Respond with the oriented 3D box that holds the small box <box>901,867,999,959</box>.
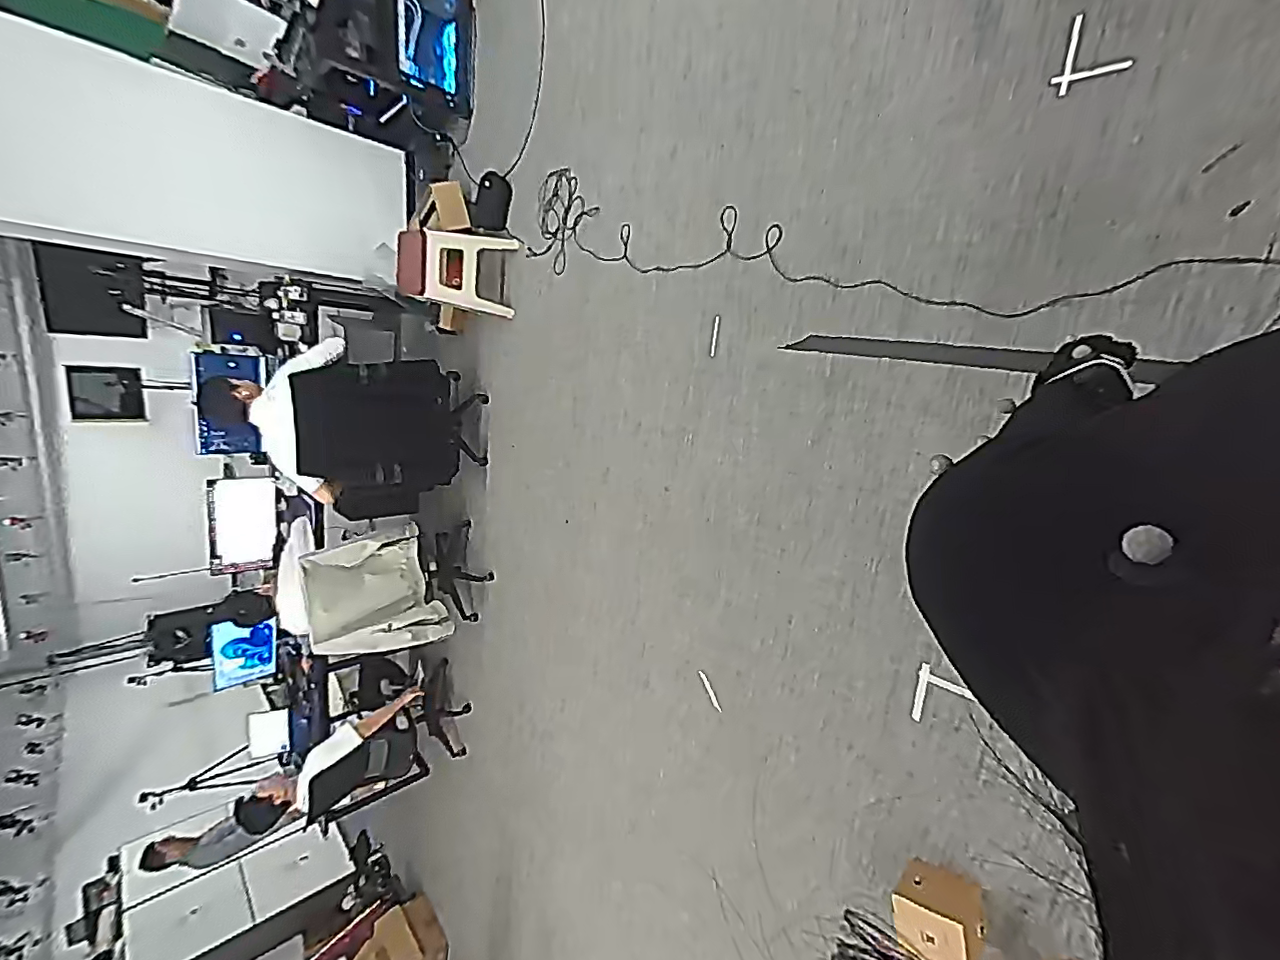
[{"bbox_3d":[0.817,1.169,1.423,0.179,0.176,0.168,-8,90,46],"label":"small box"}]
